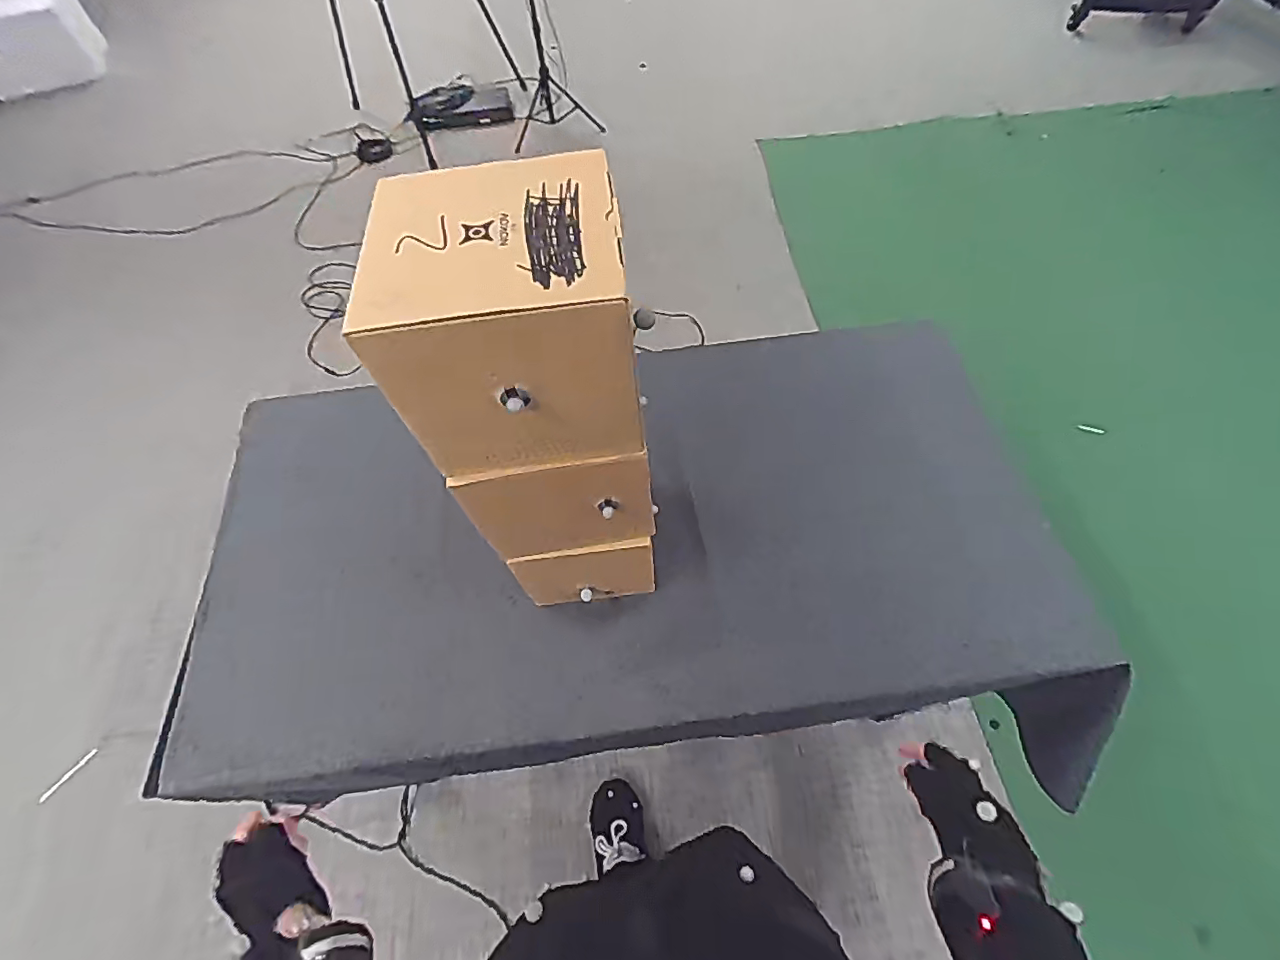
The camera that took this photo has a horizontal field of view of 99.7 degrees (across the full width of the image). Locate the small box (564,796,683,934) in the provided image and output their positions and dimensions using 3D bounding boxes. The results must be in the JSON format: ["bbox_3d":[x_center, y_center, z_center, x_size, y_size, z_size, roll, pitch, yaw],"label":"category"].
[{"bbox_3d":[-0.037,0.795,1.136,0.179,0.176,0.168,14,74,31],"label":"small box"}]

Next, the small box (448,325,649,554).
[{"bbox_3d":[-0.086,-0.036,0.574,0.179,0.176,0.168,-9,58,-2],"label":"small box"}]

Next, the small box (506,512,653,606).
[{"bbox_3d":[-0.073,0.050,0.712,0.168,0.176,0.179,-6,60,0],"label":"small box"}]
